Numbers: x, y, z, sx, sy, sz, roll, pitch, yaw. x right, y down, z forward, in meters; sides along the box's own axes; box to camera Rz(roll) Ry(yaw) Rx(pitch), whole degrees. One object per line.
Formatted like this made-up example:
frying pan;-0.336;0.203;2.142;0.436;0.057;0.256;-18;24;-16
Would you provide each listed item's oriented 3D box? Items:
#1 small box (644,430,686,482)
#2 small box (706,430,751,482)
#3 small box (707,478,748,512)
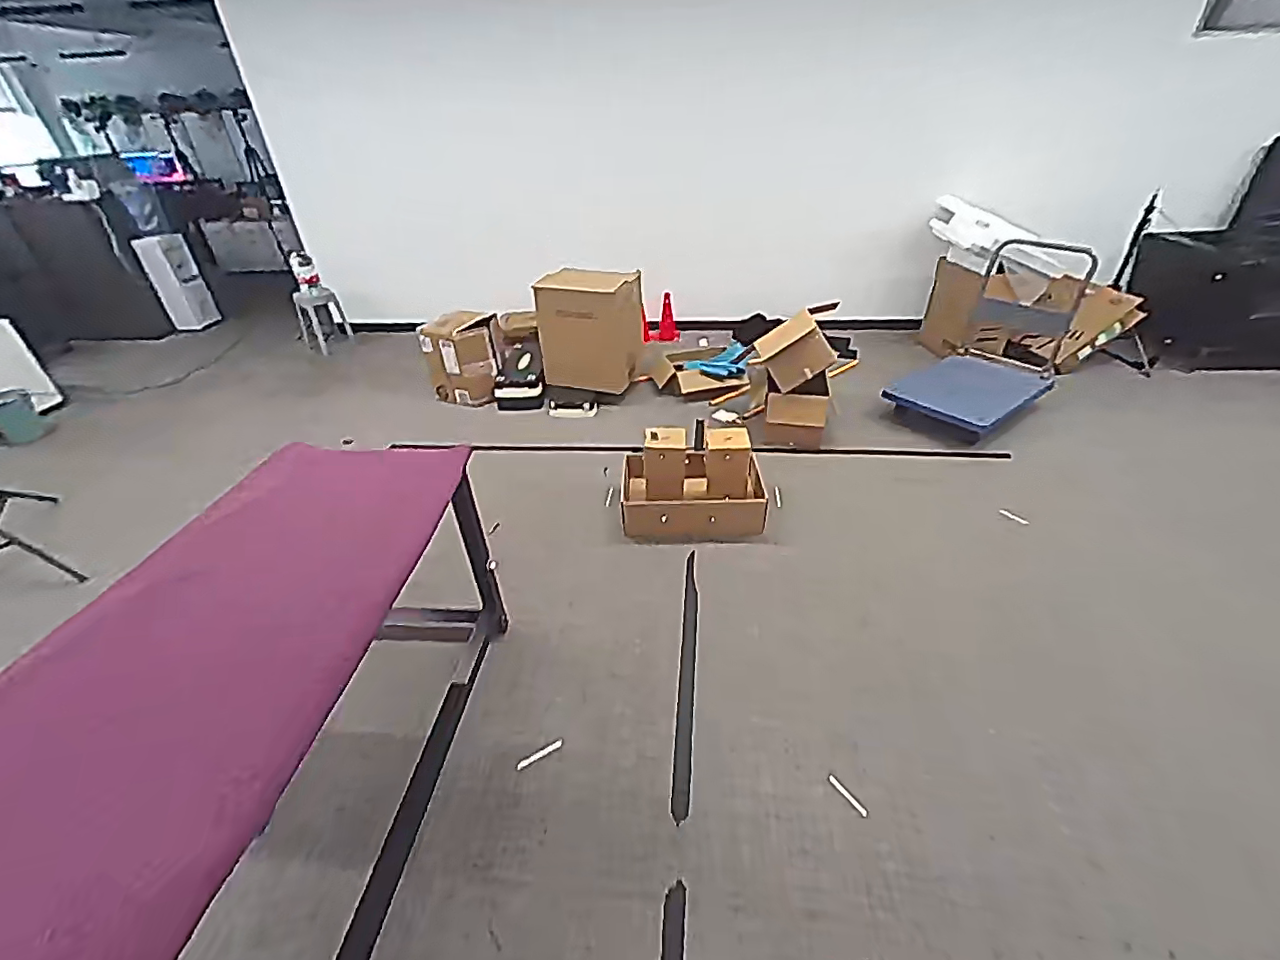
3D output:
small box;0.109;-0.104;2.348;0.179;0.176;0.168;1;35;2
small box;0.377;-0.101;2.329;0.179;0.176;0.168;-2;34;3
small box;0.388;0.032;2.421;0.168;0.176;0.179;-1;33;3
